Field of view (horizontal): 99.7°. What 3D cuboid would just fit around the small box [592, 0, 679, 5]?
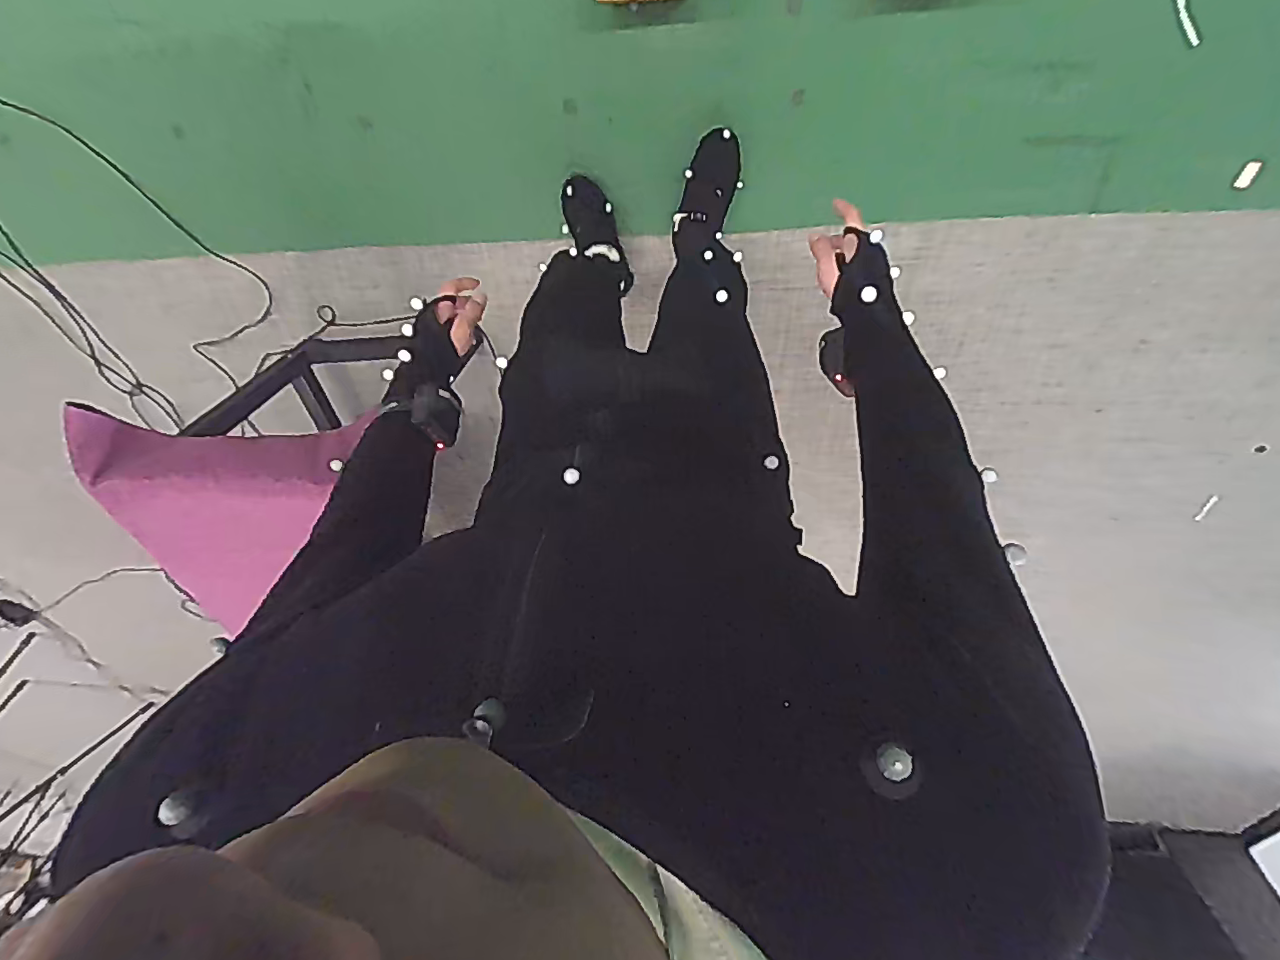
[{"bbox_3d":[-0.001,-0.964,0.959,0.168,0.176,0.179,1,129,7],"label":"small box"}]
